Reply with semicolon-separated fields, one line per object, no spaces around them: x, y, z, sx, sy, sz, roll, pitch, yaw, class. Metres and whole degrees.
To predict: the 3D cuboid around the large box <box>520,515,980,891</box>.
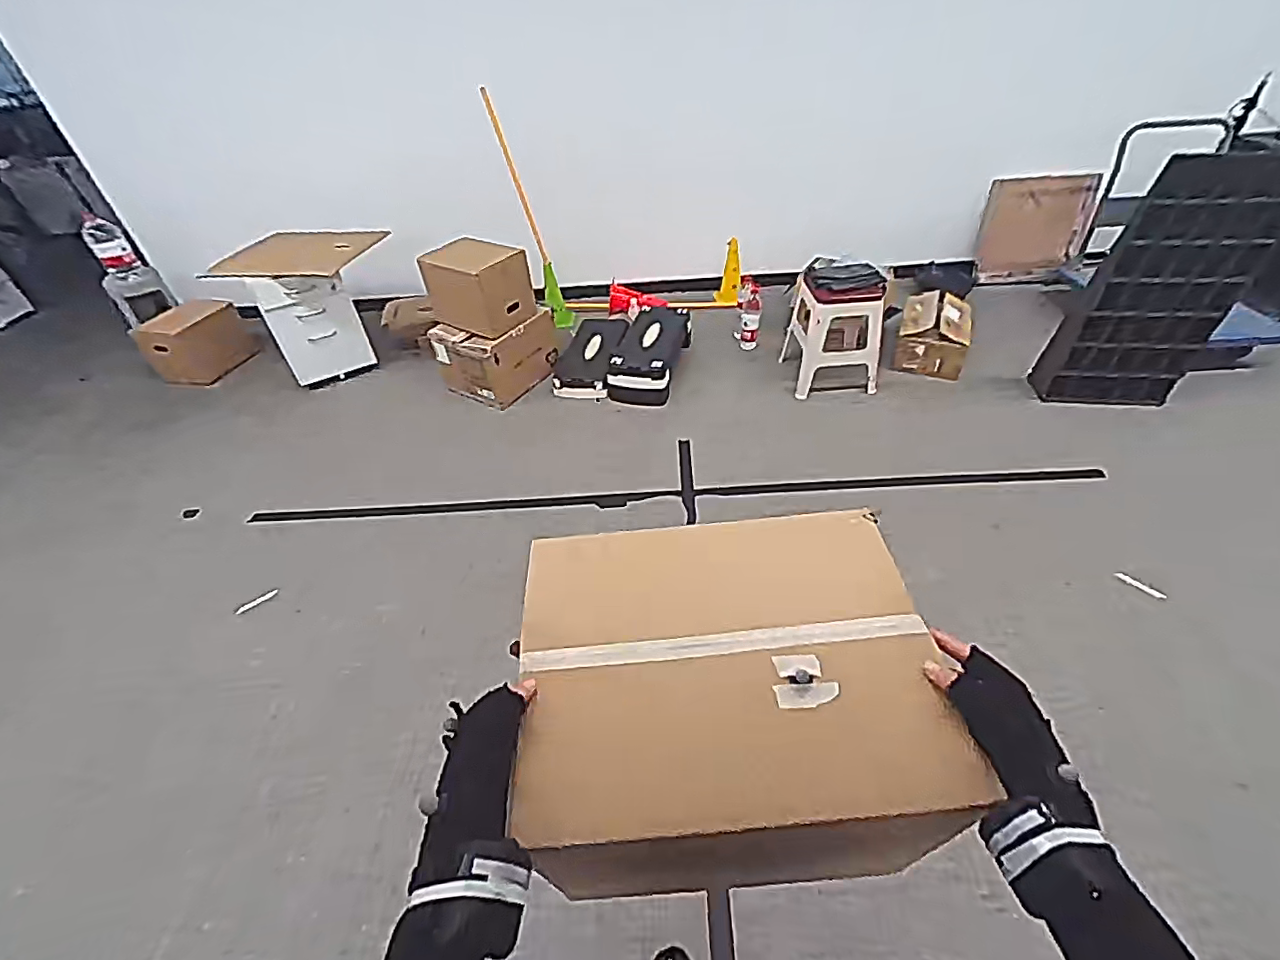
0.091;0.274;0.664;0.408;0.320;0.320;-5;47;0;large box
